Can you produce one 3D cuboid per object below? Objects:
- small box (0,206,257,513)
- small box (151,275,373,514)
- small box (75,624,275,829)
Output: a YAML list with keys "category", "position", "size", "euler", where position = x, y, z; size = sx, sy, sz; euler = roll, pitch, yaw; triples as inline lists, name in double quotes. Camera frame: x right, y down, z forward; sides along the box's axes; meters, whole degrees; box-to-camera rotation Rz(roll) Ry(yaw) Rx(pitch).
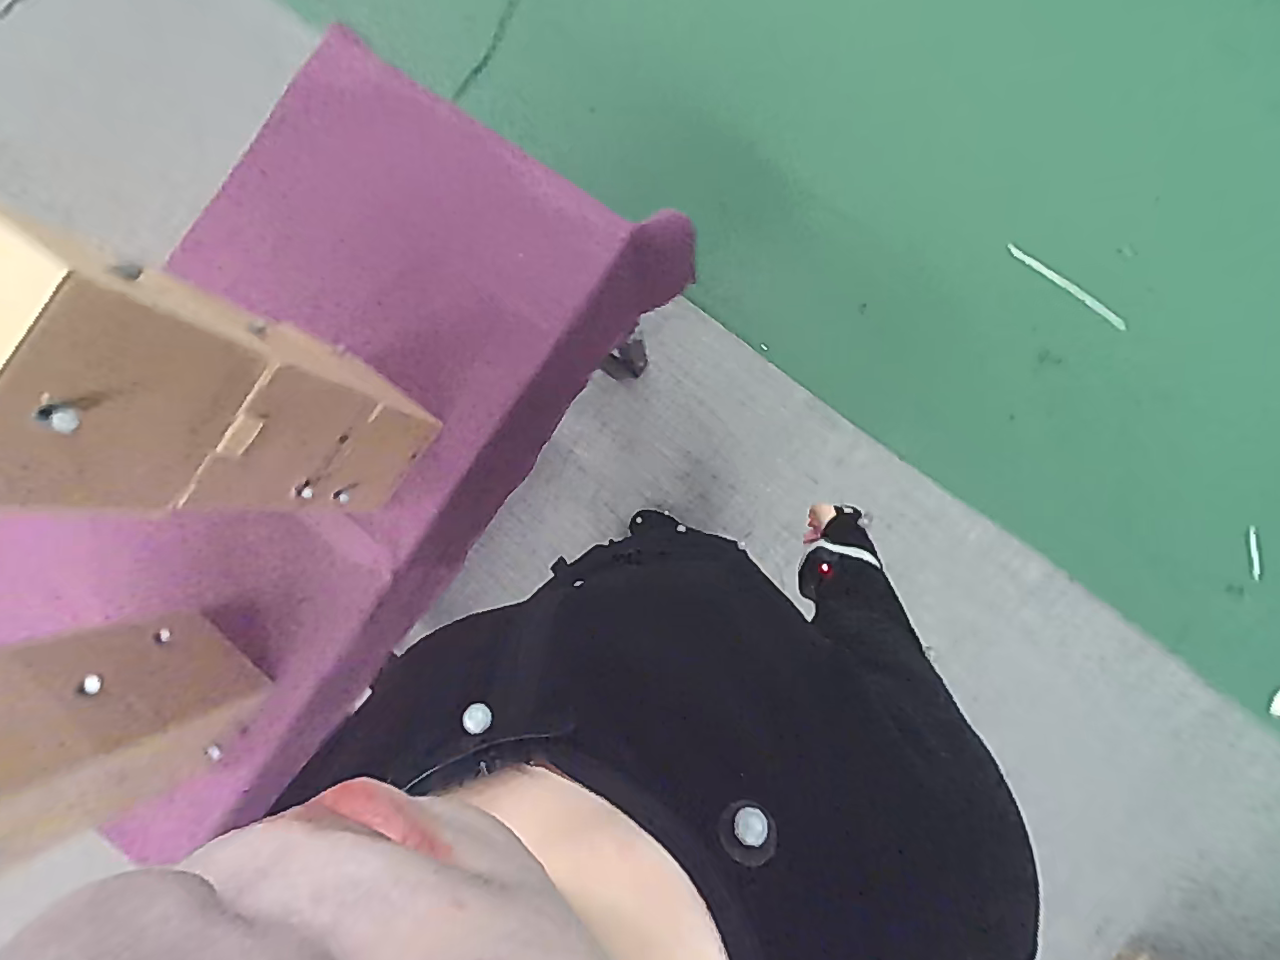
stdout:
- category: "small box"
  position: [-0.452, -0.089, 0.421]
  size: [0.168, 0.176, 0.179]
  euler: [32, 90, 7]
- category: "small box"
  position: [-0.435, -0.078, 0.583]
  size: [0.179, 0.176, 0.168]
  euler: [33, 89, 7]
- category: "small box"
  position: [-0.661, 0.316, 0.735]
  size: [0.179, 0.176, 0.168]
  euler: [39, 90, 6]
